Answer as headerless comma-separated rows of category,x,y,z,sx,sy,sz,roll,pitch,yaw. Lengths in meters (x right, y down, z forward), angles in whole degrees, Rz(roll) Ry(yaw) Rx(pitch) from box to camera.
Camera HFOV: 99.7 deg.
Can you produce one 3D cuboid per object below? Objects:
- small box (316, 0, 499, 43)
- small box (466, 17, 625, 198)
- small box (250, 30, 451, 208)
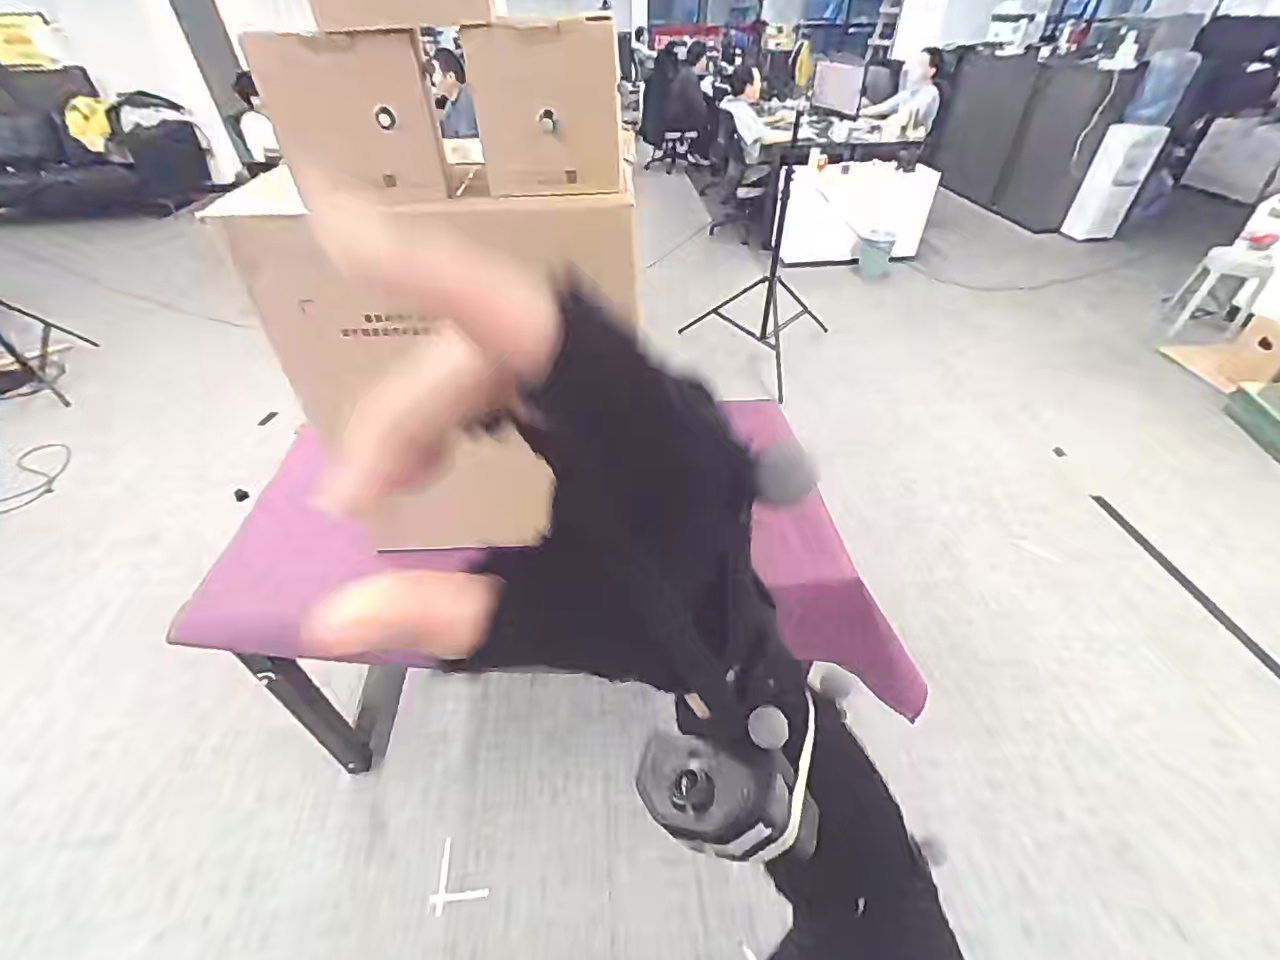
small box,-0.247,-0.569,0.557,0.179,0.176,0.168,-9,43,-6
small box,-0.105,-0.470,0.687,0.168,0.176,0.179,-2,43,-1
small box,-0.335,-0.446,0.670,0.168,0.176,0.179,-10,42,-12
